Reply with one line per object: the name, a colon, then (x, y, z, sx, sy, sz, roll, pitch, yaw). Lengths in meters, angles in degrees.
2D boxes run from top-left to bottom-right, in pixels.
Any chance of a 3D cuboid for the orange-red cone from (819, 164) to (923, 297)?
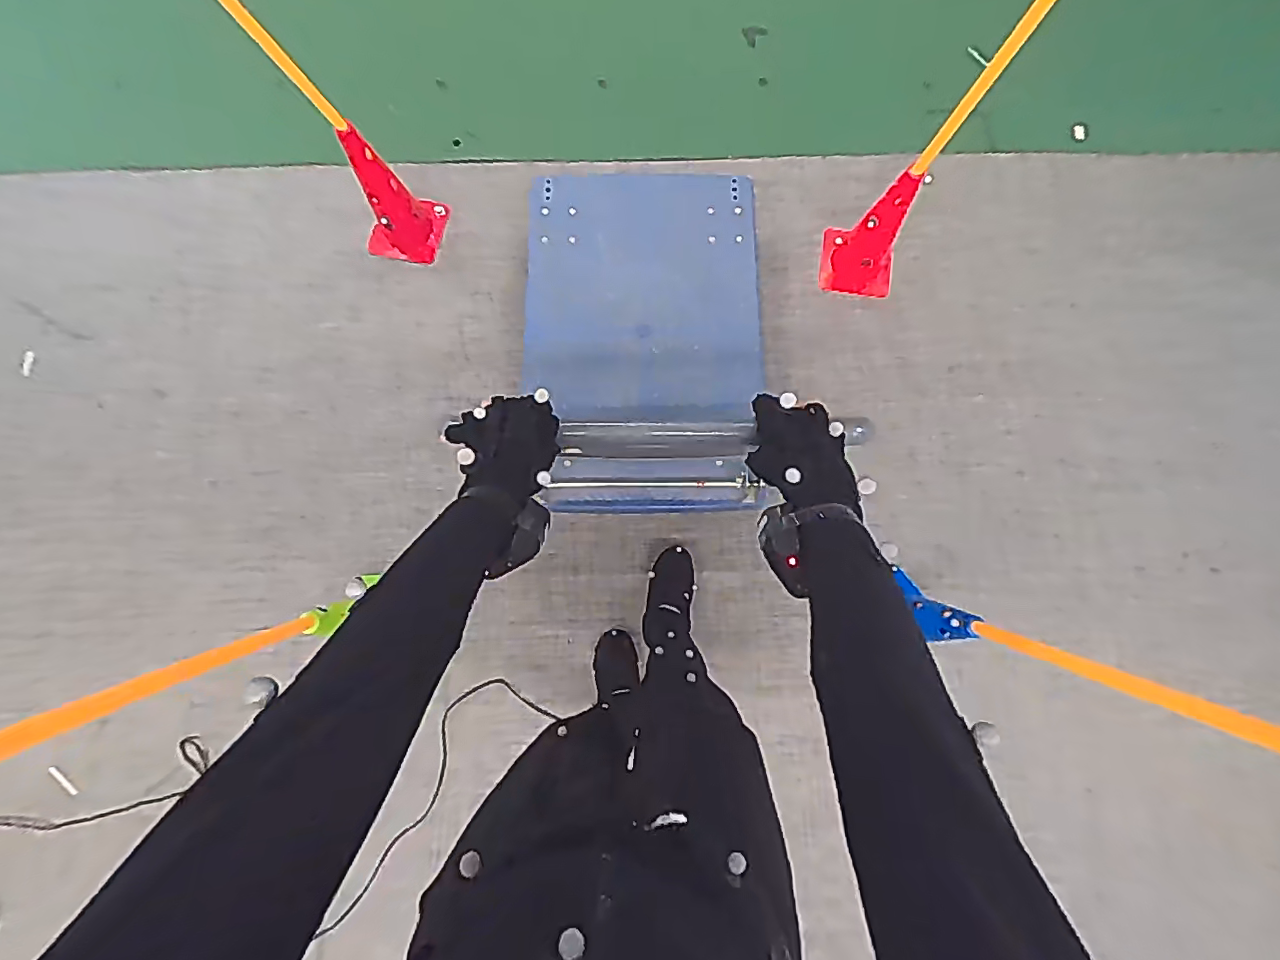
orange-red cone: (0.619, -0.656, 1.381, 0.198, 0.360, 0.199, 10, 79, 2)
